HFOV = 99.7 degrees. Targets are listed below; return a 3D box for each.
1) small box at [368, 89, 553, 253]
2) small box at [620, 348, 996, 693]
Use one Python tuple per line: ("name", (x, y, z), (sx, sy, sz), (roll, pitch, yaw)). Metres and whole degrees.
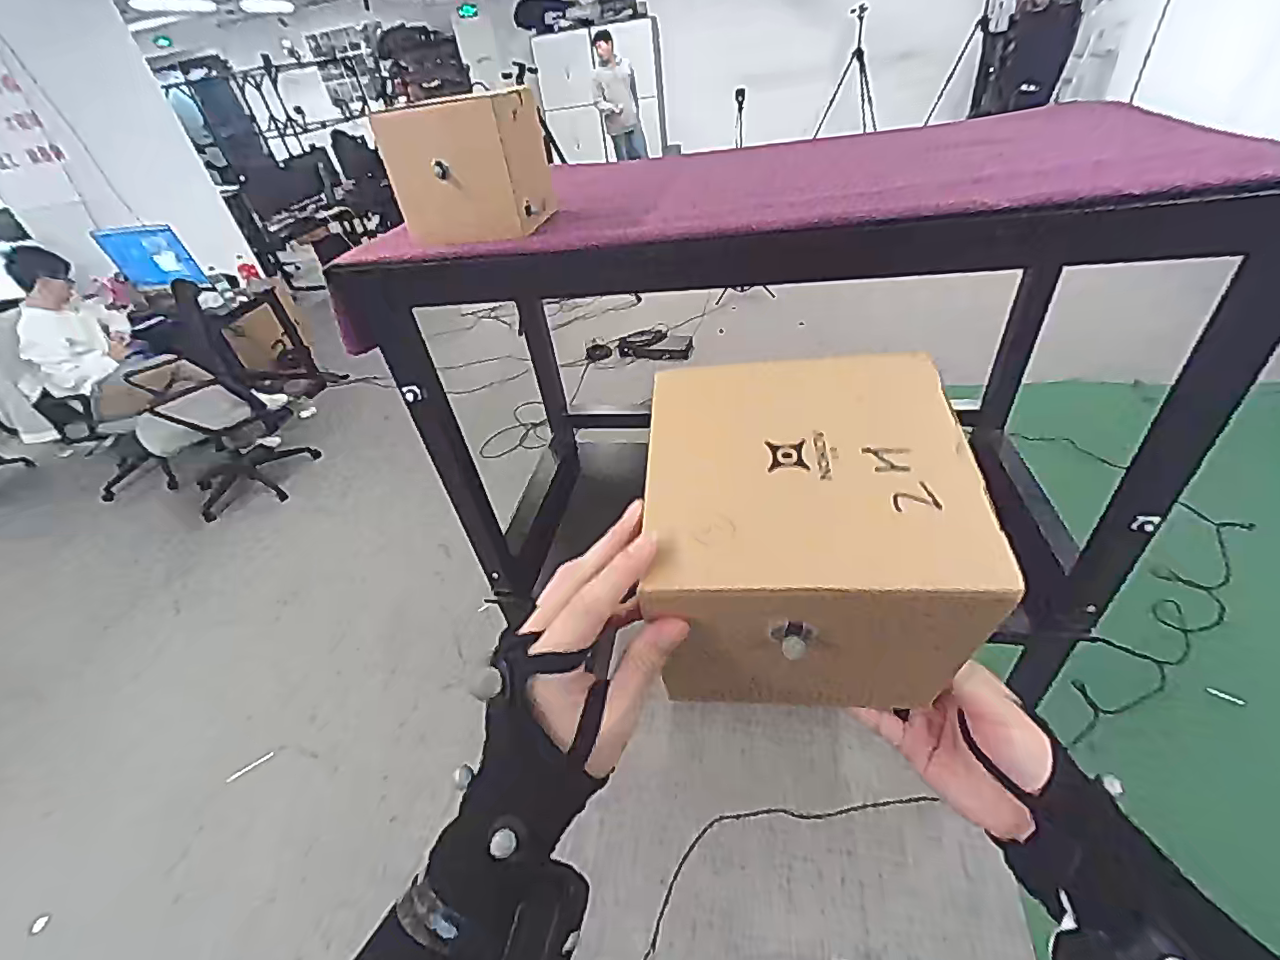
("small box", (-0.242, -0.446, 0.786), (0.179, 0.176, 0.168), (-1, 39, 13))
("small box", (0.094, 0.034, 0.364), (0.179, 0.176, 0.168), (-2, 52, 10))
